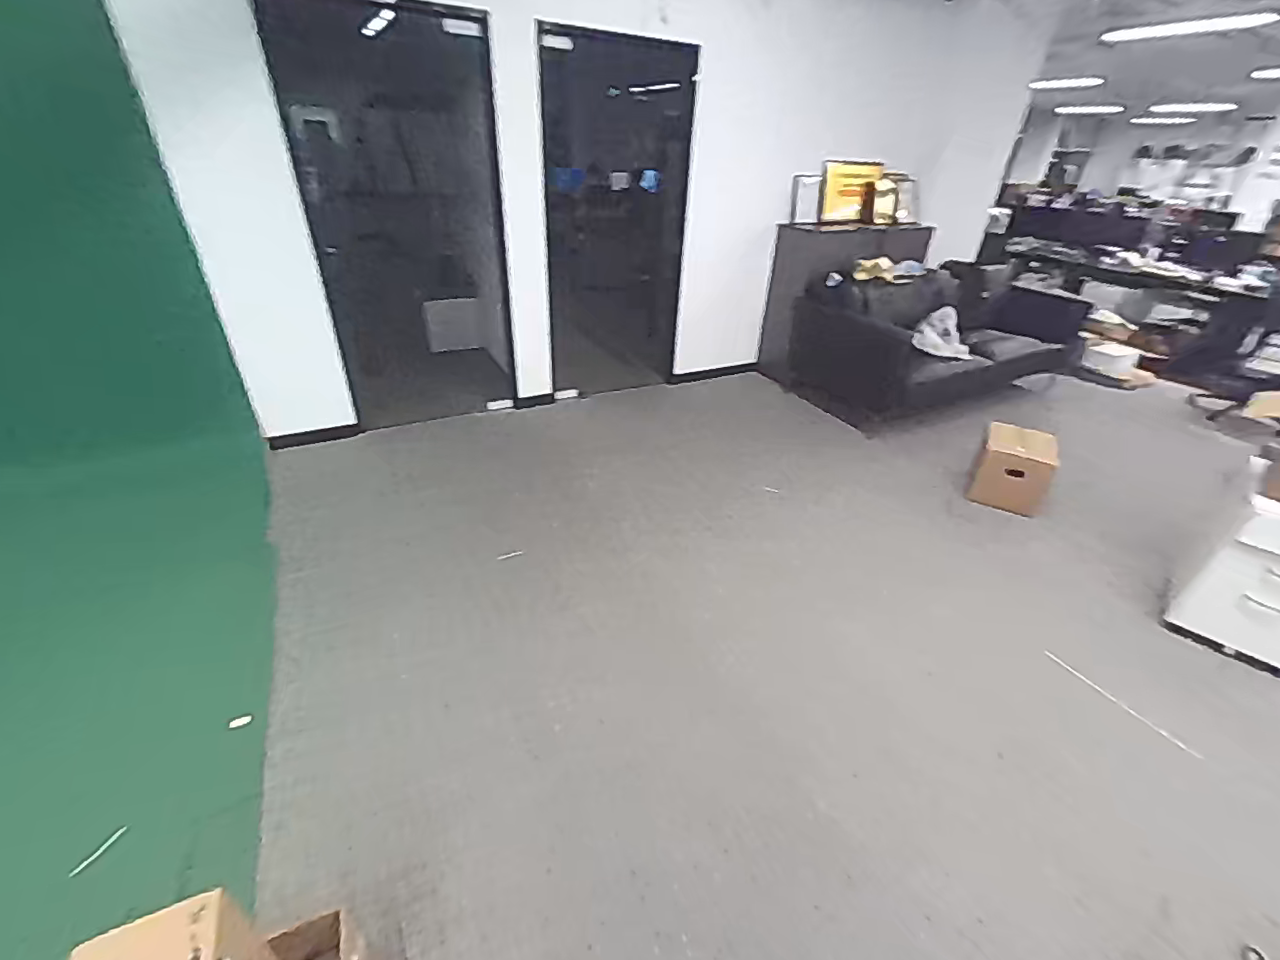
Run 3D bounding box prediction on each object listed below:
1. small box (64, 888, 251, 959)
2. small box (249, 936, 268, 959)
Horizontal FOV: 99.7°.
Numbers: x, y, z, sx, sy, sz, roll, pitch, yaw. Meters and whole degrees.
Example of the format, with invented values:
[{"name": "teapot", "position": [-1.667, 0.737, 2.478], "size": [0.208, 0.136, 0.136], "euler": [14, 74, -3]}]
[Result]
[{"name": "small box", "position": [-0.689, 0.744, 0.768], "size": [0.179, 0.176, 0.168], "euler": [-13, 35, -24]}, {"name": "small box", "position": [-0.700, 0.885, 0.851], "size": [0.179, 0.176, 0.168], "euler": [-9, 34, -23]}]
